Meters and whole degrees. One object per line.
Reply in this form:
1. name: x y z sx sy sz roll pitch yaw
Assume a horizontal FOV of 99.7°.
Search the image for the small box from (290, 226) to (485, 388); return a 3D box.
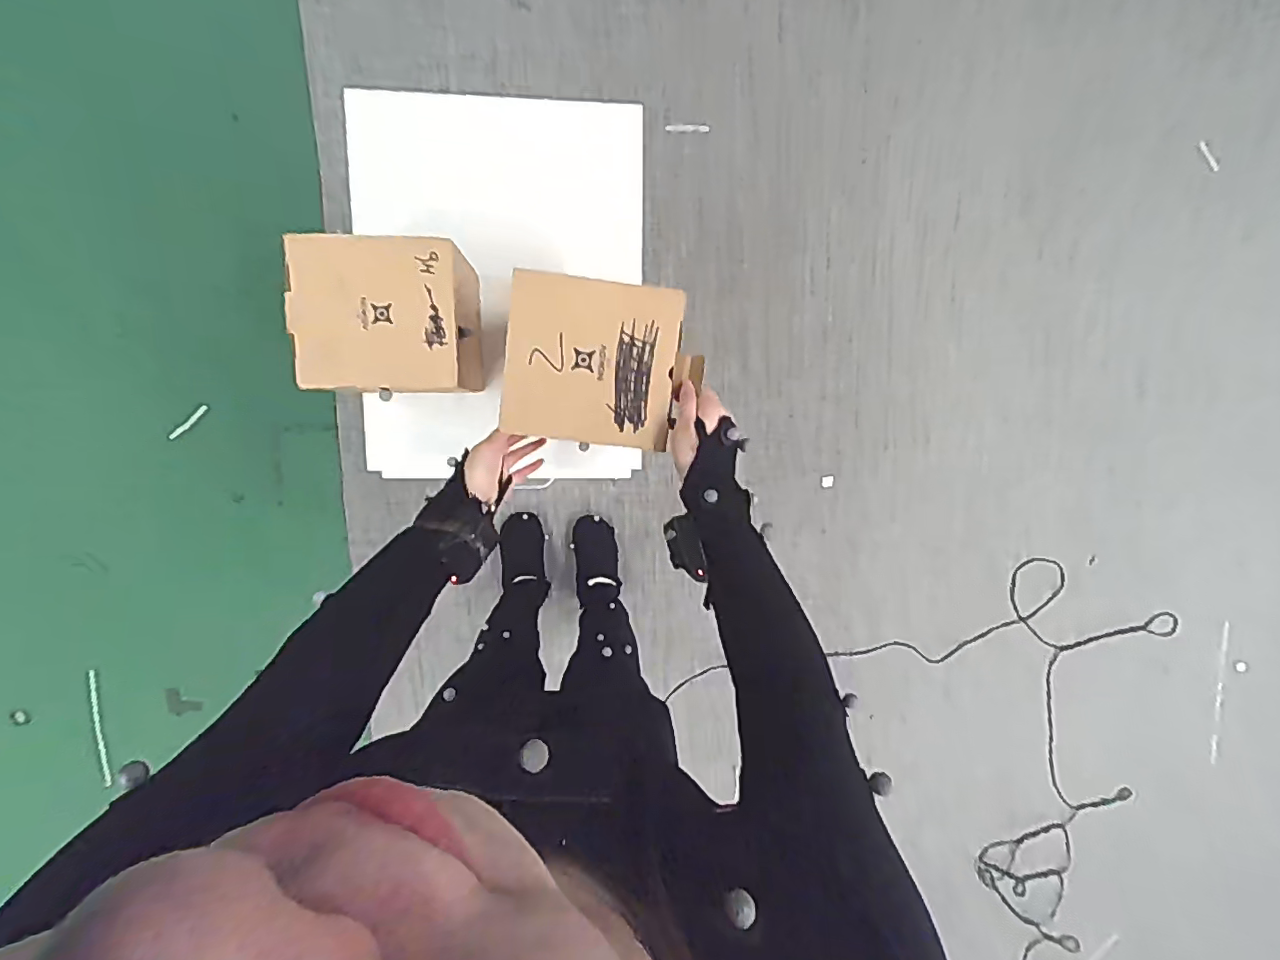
1. small box: -0.299 -0.202 0.676 0.179 0.176 0.168 -1 97 -7
